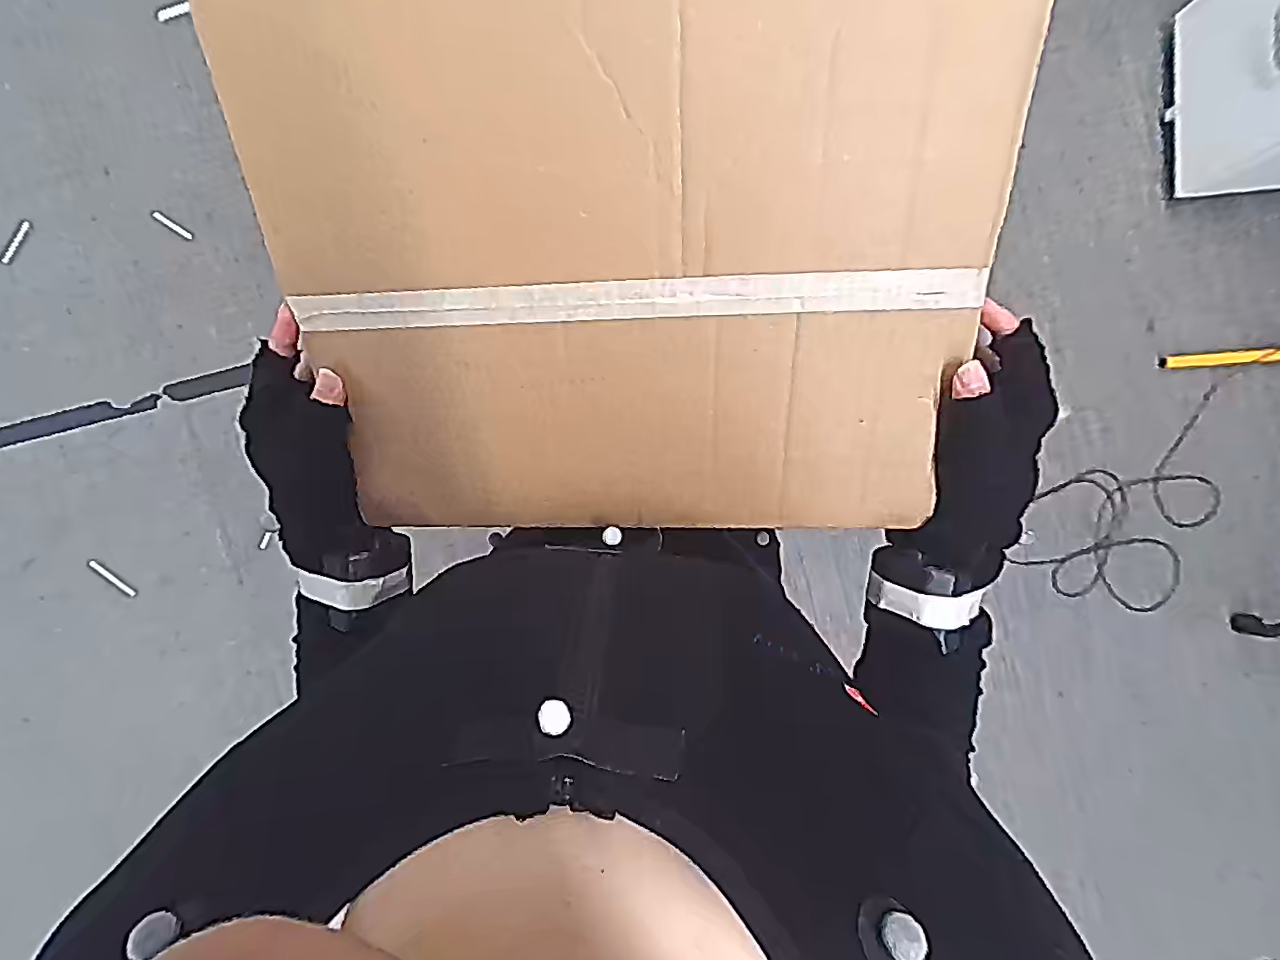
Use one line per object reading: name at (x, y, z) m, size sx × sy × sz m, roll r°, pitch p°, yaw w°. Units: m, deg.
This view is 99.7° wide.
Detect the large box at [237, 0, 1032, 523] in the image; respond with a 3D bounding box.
large box at (0.003, -0.174, 0.459) m, size 0.408 × 0.320 × 0.320 m, roll 0°, pitch 118°, yaw 5°
